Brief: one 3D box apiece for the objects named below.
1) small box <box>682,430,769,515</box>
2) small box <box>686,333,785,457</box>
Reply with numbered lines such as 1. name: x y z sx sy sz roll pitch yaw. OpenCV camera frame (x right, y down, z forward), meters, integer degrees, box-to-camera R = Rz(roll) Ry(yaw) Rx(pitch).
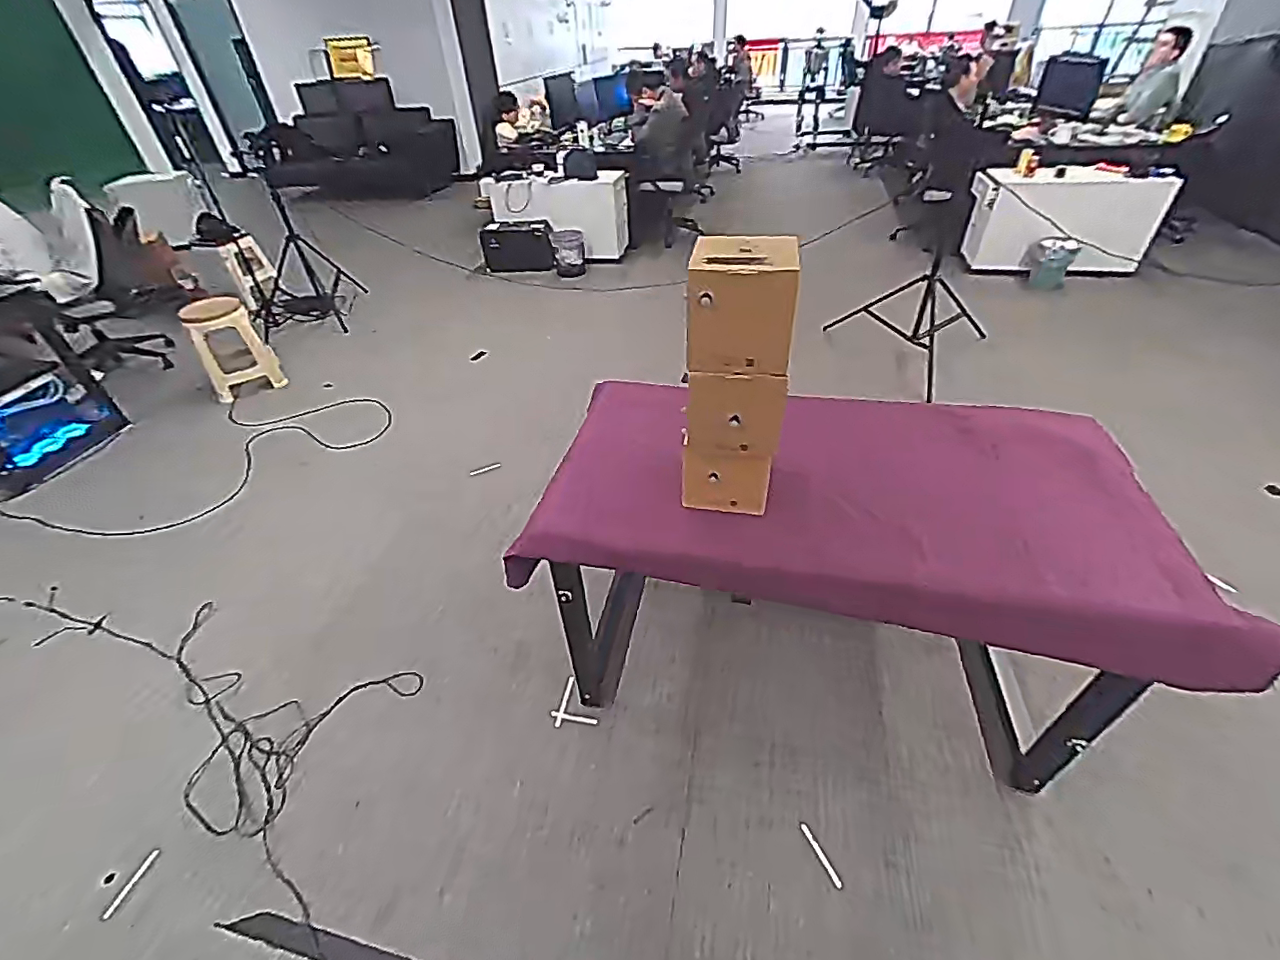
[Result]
1. small box: 0.182 -0.047 1.124 0.168 0.176 0.179 6 41 11
2. small box: 0.173 -0.157 1.001 0.168 0.176 0.179 3 41 7
